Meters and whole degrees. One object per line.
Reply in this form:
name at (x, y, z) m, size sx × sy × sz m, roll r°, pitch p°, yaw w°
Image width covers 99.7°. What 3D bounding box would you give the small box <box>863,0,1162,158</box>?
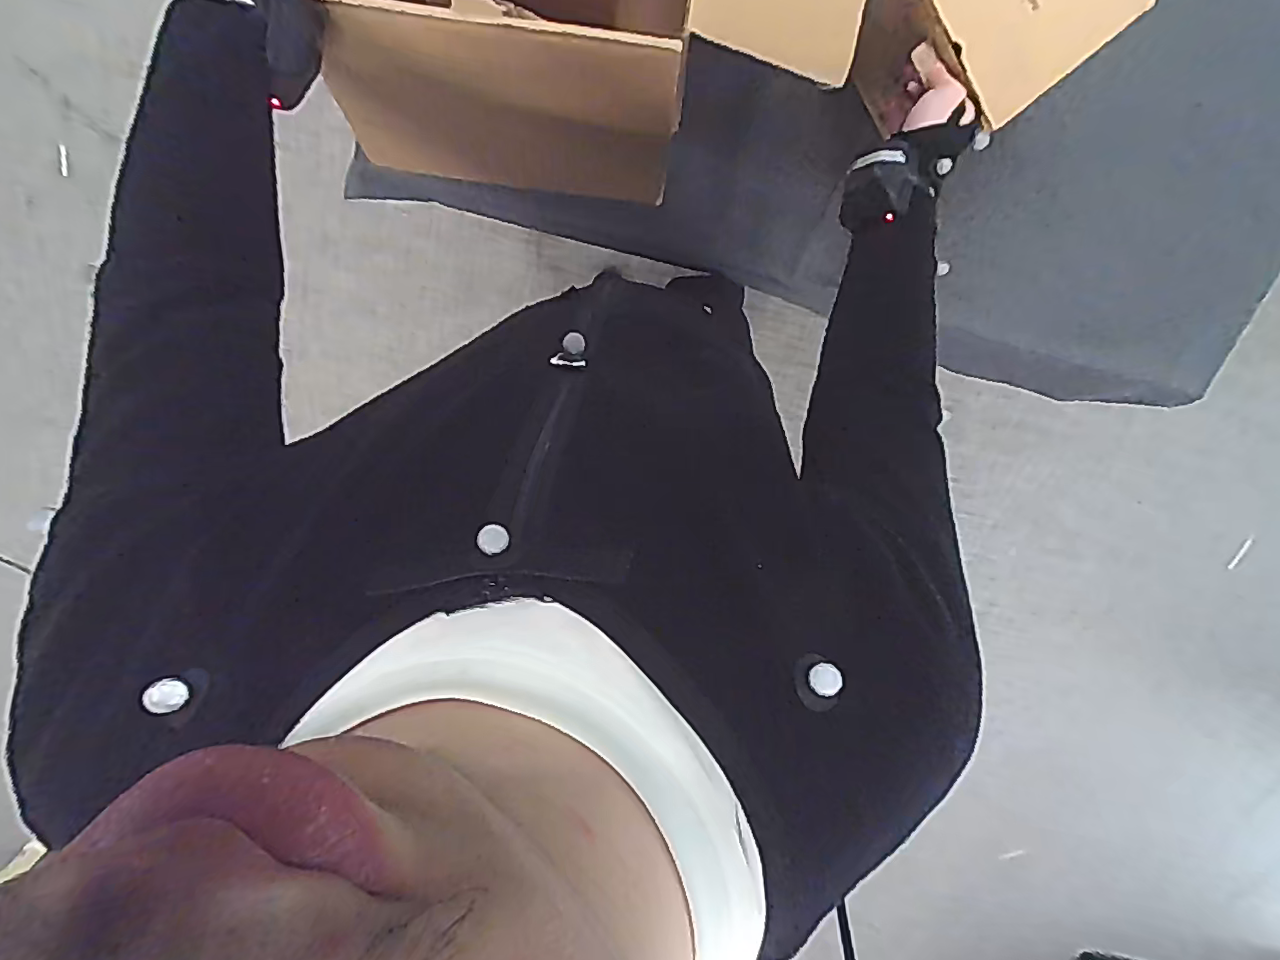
small box at (0.358, -0.472, 0.558) m, size 0.179 × 0.176 × 0.168 m, roll -33°, pitch 108°, yaw 10°
